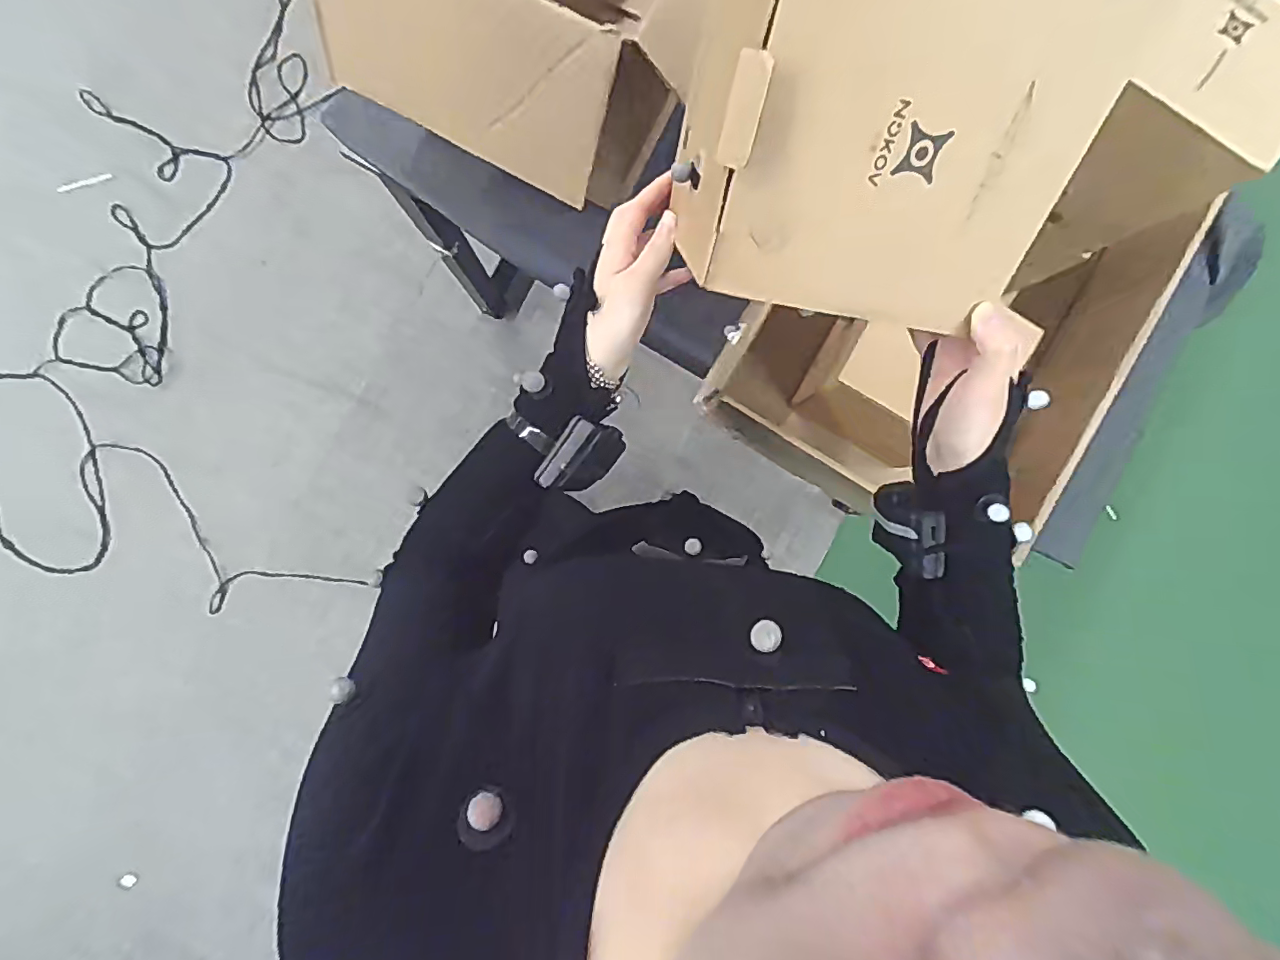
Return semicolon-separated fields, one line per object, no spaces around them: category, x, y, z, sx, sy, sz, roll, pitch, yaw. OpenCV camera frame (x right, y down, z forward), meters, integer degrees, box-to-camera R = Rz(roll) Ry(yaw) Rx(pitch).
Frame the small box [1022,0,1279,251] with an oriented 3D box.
small box;0.458;-0.358;0.509;0.168;0.176;0.179;31;91;-4

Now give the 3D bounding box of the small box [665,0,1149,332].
small box;0.121;-0.213;0.334;0.179;0.176;0.168;5;128;-12
